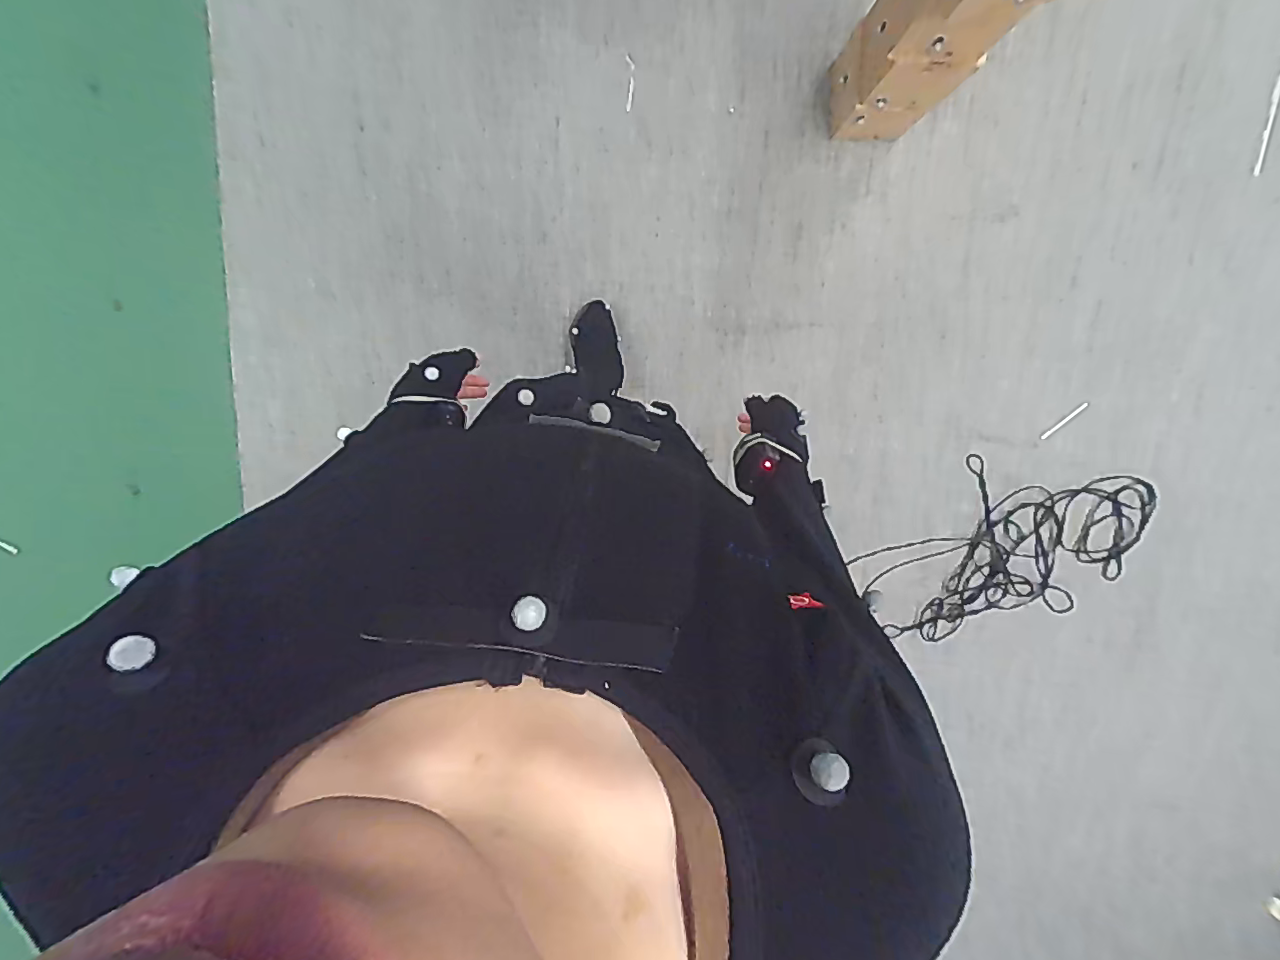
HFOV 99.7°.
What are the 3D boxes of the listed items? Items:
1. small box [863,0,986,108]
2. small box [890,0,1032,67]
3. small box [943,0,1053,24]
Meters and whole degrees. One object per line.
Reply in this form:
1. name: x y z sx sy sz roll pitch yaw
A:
1. small box: 0.545 -0.846 1.038 0.168 0.176 0.179 1 101 0
2. small box: 0.530 -0.820 0.878 0.168 0.176 0.179 4 102 0
3. small box: 0.526 -0.768 0.722 0.168 0.176 0.179 -9 102 3
